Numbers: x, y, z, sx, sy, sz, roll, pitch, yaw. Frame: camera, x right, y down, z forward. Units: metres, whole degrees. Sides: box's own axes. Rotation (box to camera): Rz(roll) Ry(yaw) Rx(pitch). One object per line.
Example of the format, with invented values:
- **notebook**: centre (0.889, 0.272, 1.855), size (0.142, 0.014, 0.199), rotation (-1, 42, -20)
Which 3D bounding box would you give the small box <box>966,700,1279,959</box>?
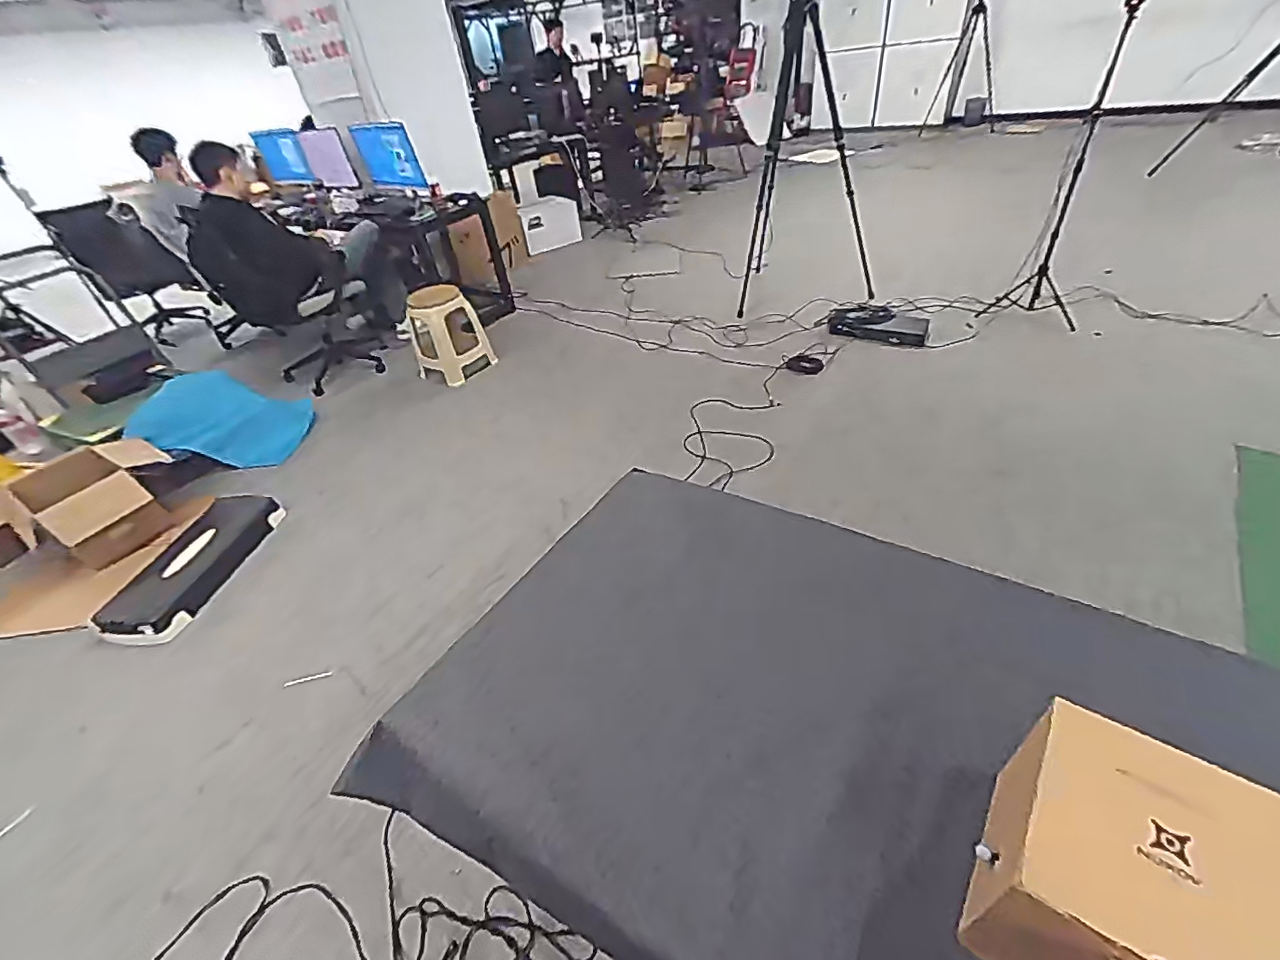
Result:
- **small box**: centre (0.389, 0.329, 0.439), size (0.168, 0.176, 0.179), rotation (22, 46, 31)
